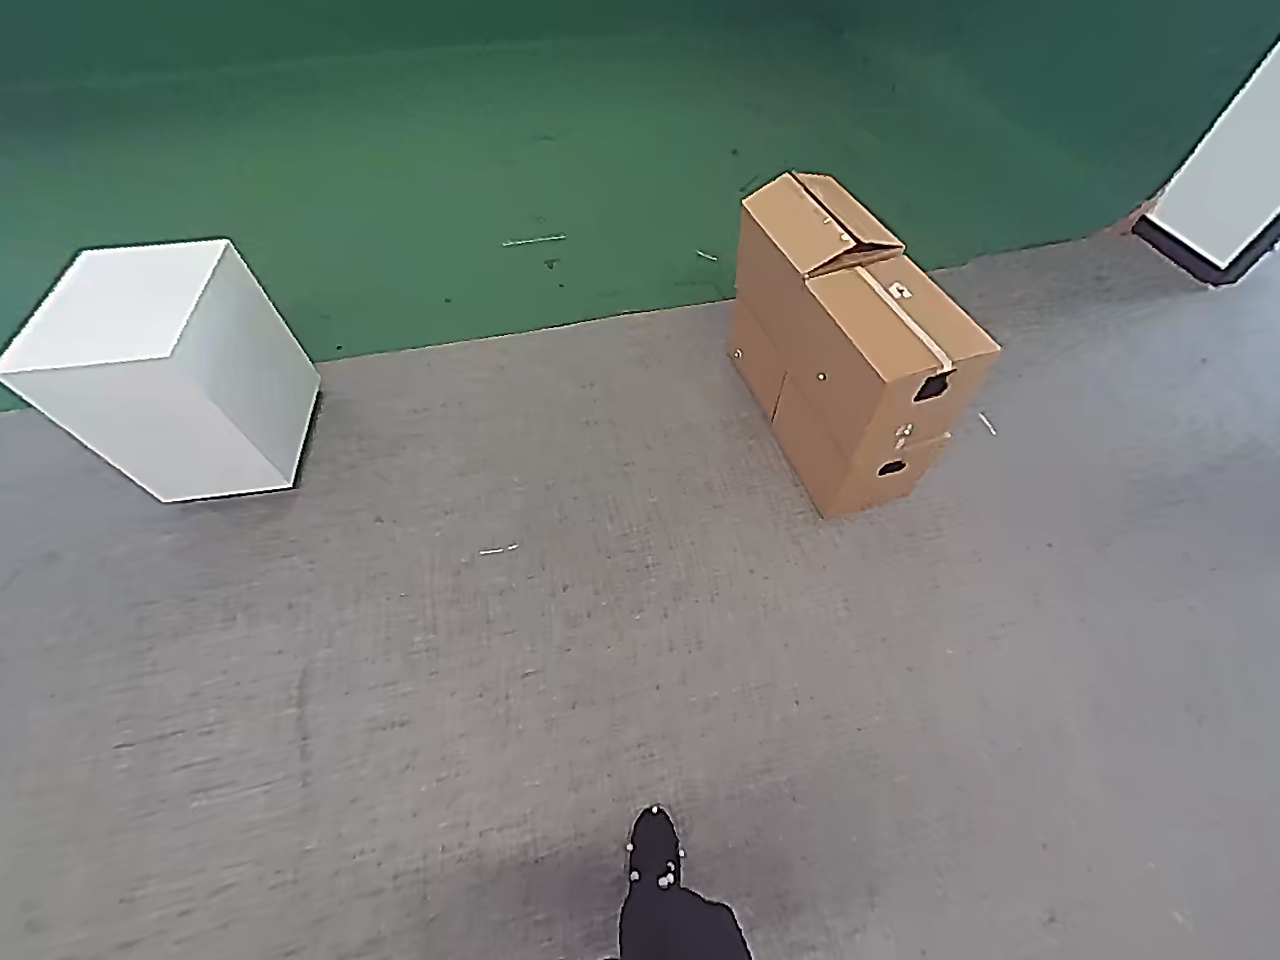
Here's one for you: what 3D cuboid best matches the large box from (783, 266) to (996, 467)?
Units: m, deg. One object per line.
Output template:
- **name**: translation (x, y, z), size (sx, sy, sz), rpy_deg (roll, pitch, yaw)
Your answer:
- **large box**: translation (0.637, -0.308, 1.471), size (0.320, 0.320, 0.408), rpy_deg (-16, 55, -9)
